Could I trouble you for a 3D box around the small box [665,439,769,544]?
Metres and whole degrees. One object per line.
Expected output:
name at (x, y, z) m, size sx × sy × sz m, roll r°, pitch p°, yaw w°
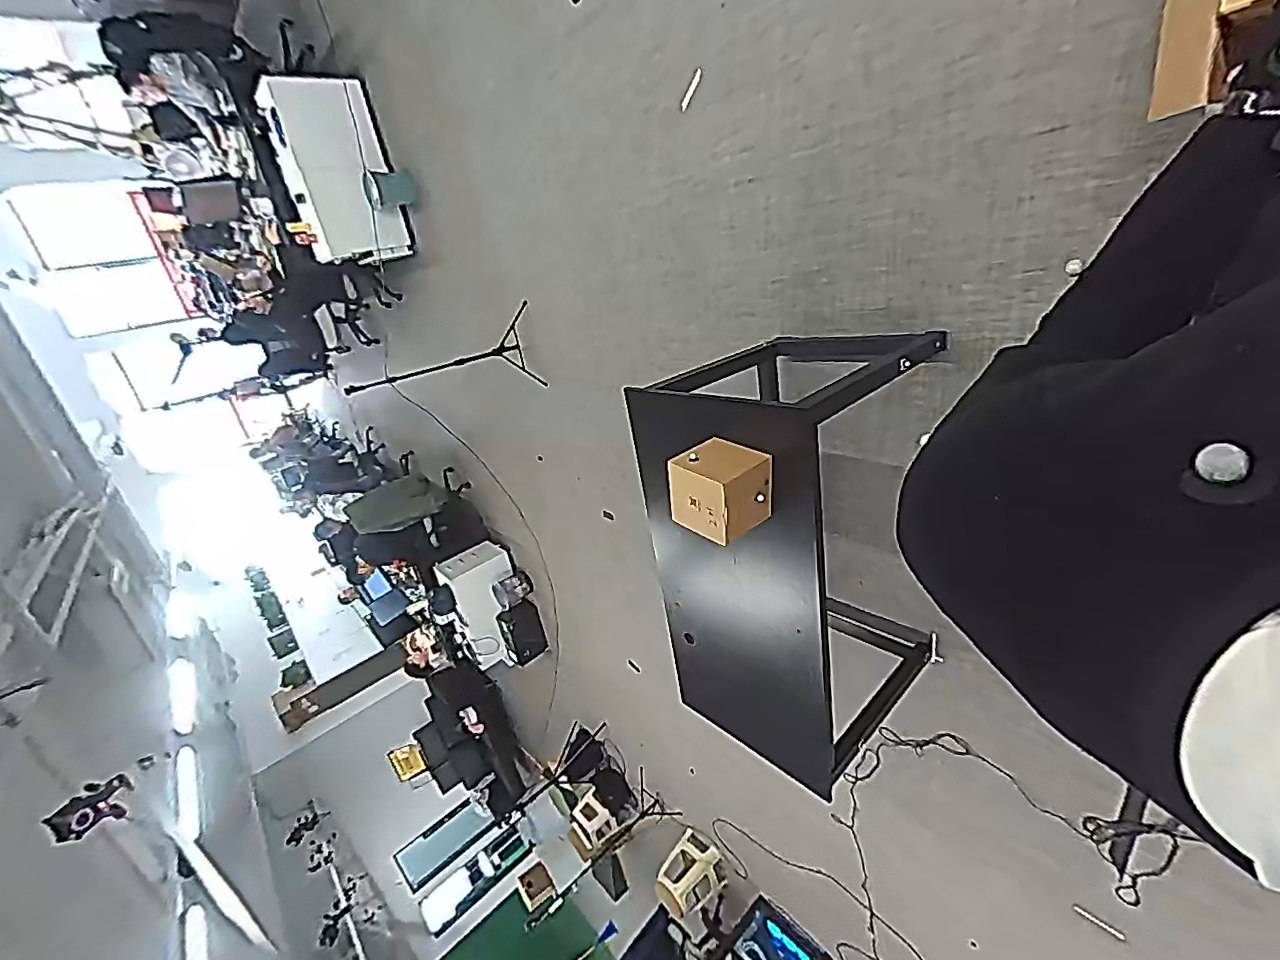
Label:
small box at (0.180, 0.017, 1.270) m, size 0.179 × 0.176 × 0.168 m, roll 25°, pitch 132°, yaw 43°
